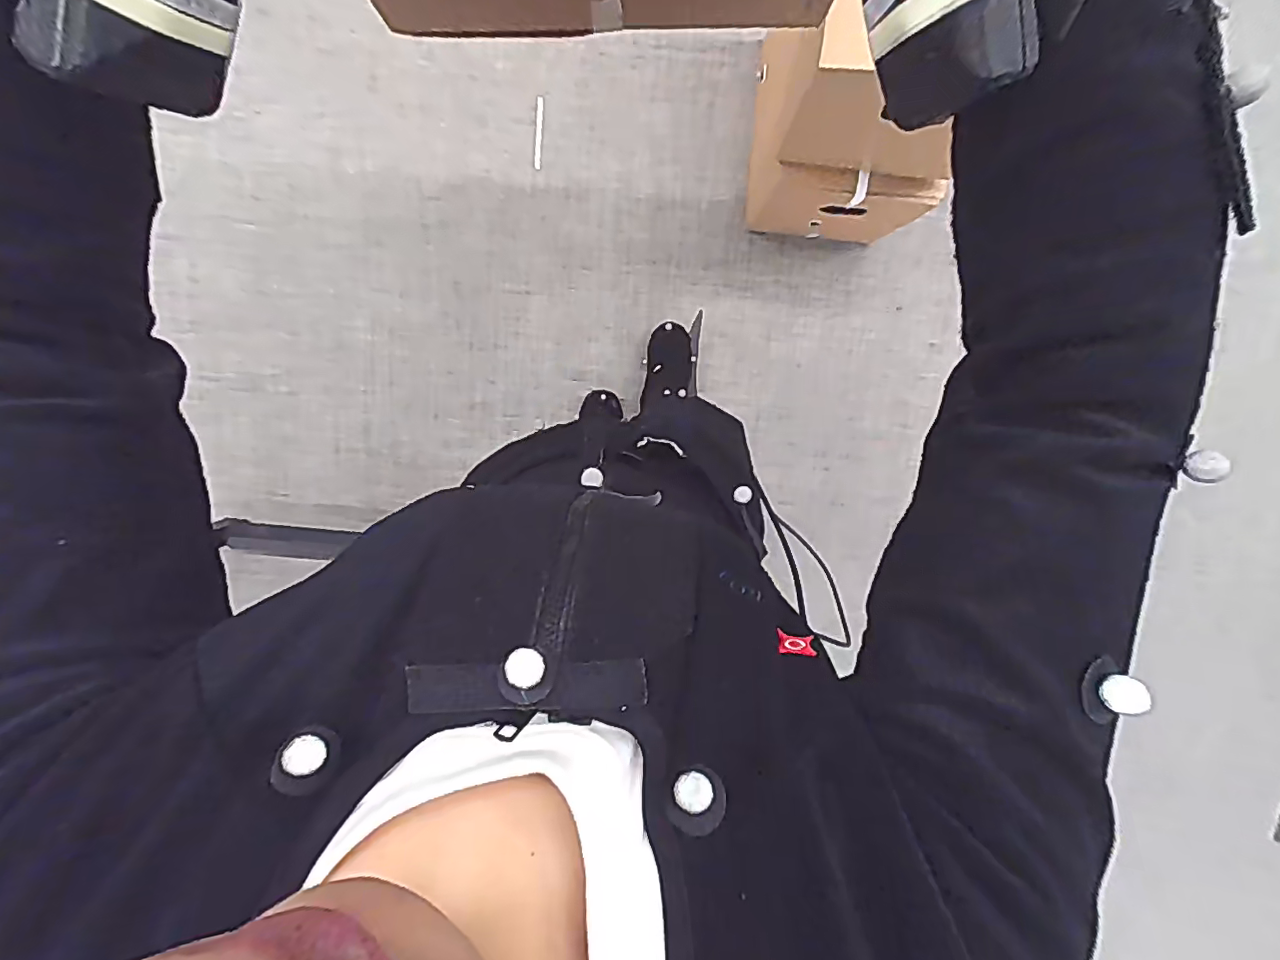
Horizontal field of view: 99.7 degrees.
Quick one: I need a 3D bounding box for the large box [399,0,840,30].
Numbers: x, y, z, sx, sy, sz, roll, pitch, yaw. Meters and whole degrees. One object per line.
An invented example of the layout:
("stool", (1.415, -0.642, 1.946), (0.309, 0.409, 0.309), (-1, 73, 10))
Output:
("large box", (-0.016, -0.492, 0.202), (0.320, 0.320, 0.408), (-2, 100, 1))
